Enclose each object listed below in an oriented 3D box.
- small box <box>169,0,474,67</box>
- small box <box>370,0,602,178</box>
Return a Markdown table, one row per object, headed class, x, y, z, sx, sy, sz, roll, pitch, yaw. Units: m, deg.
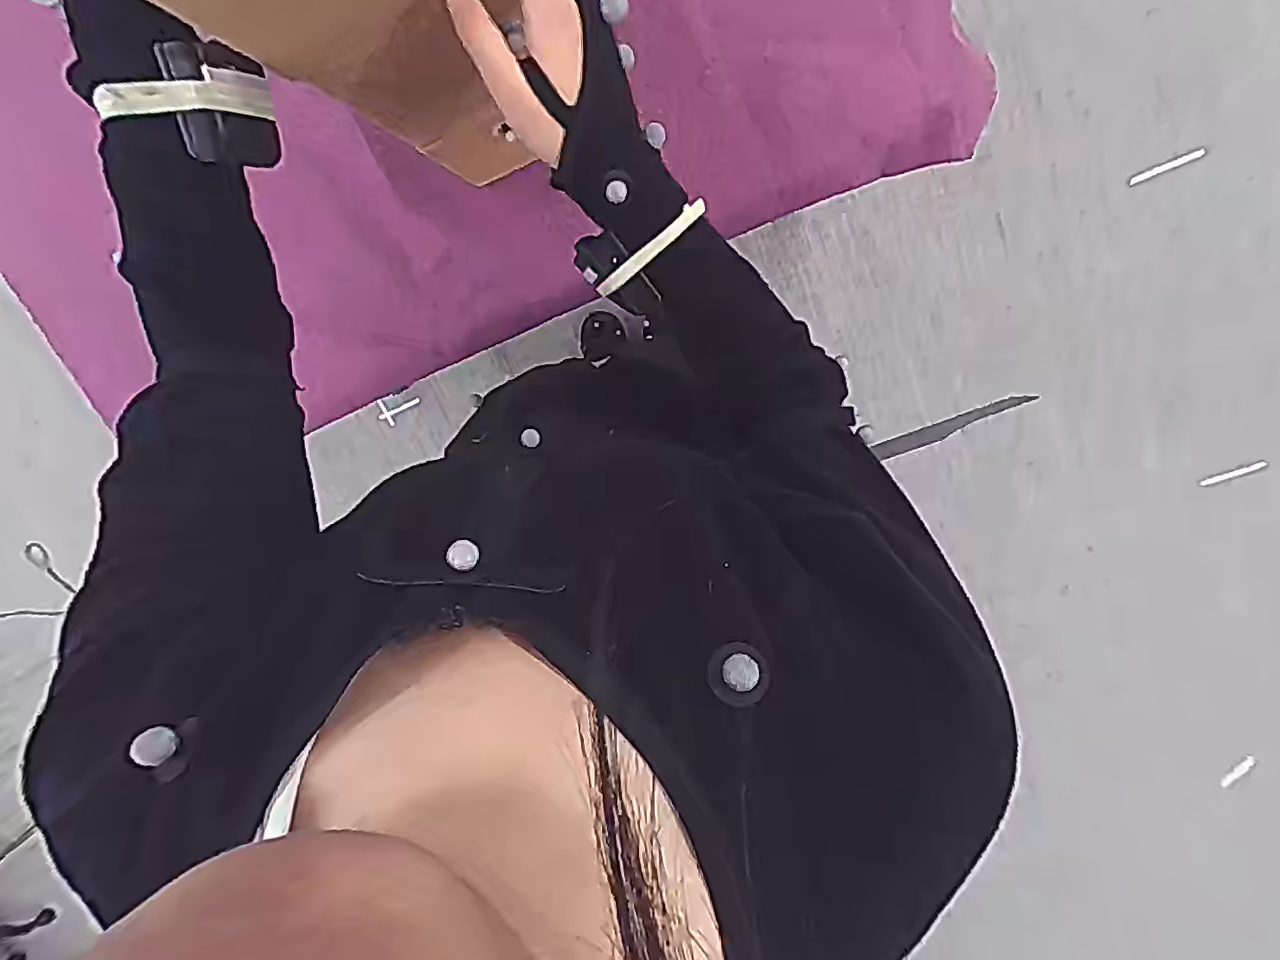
| class | x | y | z | sx | sy | sz | roll | pitch | yaw |
| --- | --- | --- | --- | --- | --- | --- | --- | --- | --- |
| small box | -0.173 | -0.332 | 0.241 | 0.179 | 0.176 | 0.168 | -13 | 106 | 9 |
| small box | -0.154 | -0.439 | 0.552 | 0.179 | 0.176 | 0.168 | -19 | 106 | 10 |
